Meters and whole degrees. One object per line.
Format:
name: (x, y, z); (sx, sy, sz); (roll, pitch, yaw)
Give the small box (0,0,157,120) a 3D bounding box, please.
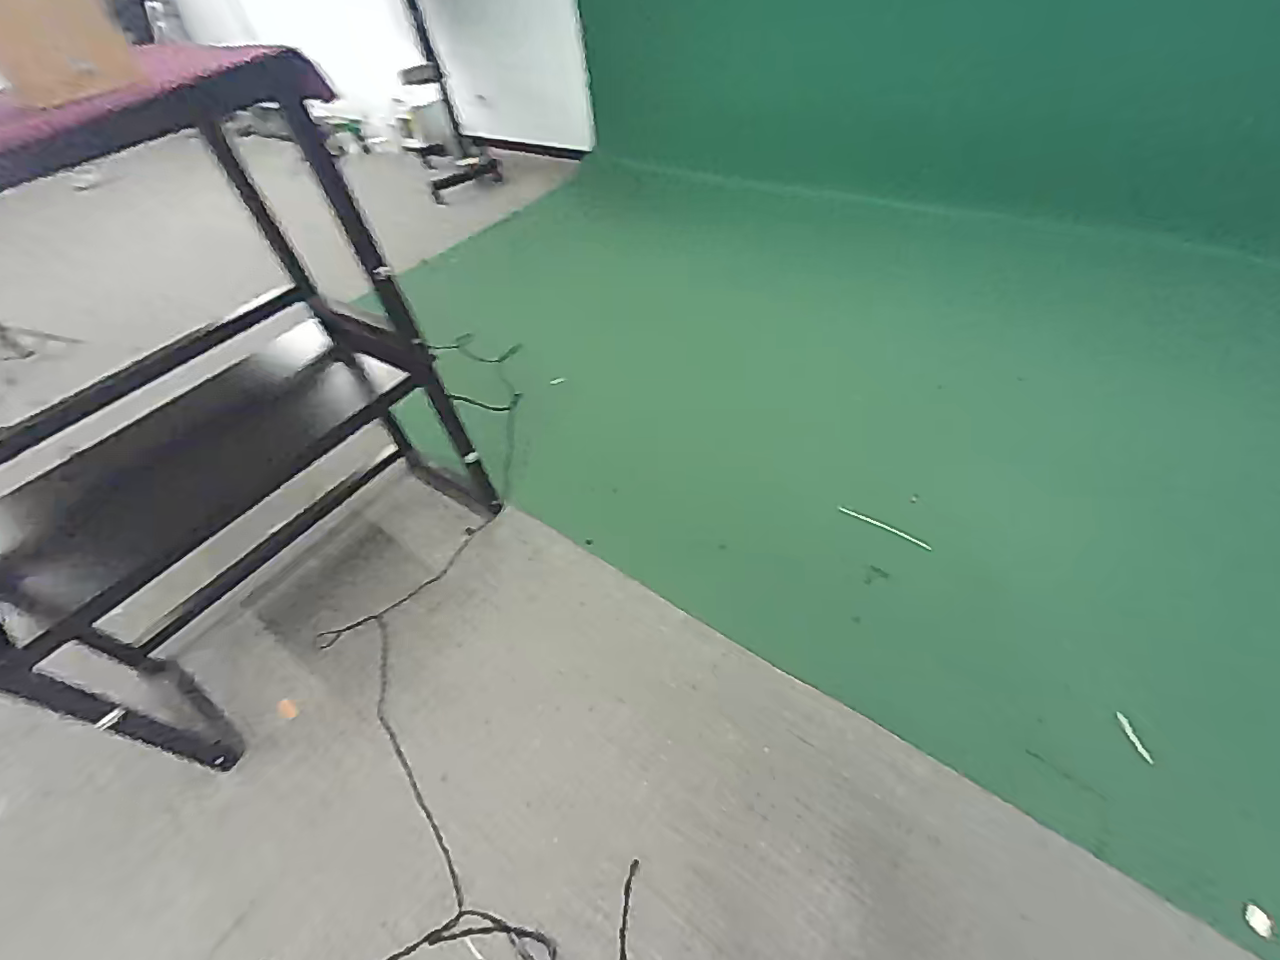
small box: (-1.021, -0.767, 0.963); (0.168, 0.176, 0.179); (23, 55, 29)
